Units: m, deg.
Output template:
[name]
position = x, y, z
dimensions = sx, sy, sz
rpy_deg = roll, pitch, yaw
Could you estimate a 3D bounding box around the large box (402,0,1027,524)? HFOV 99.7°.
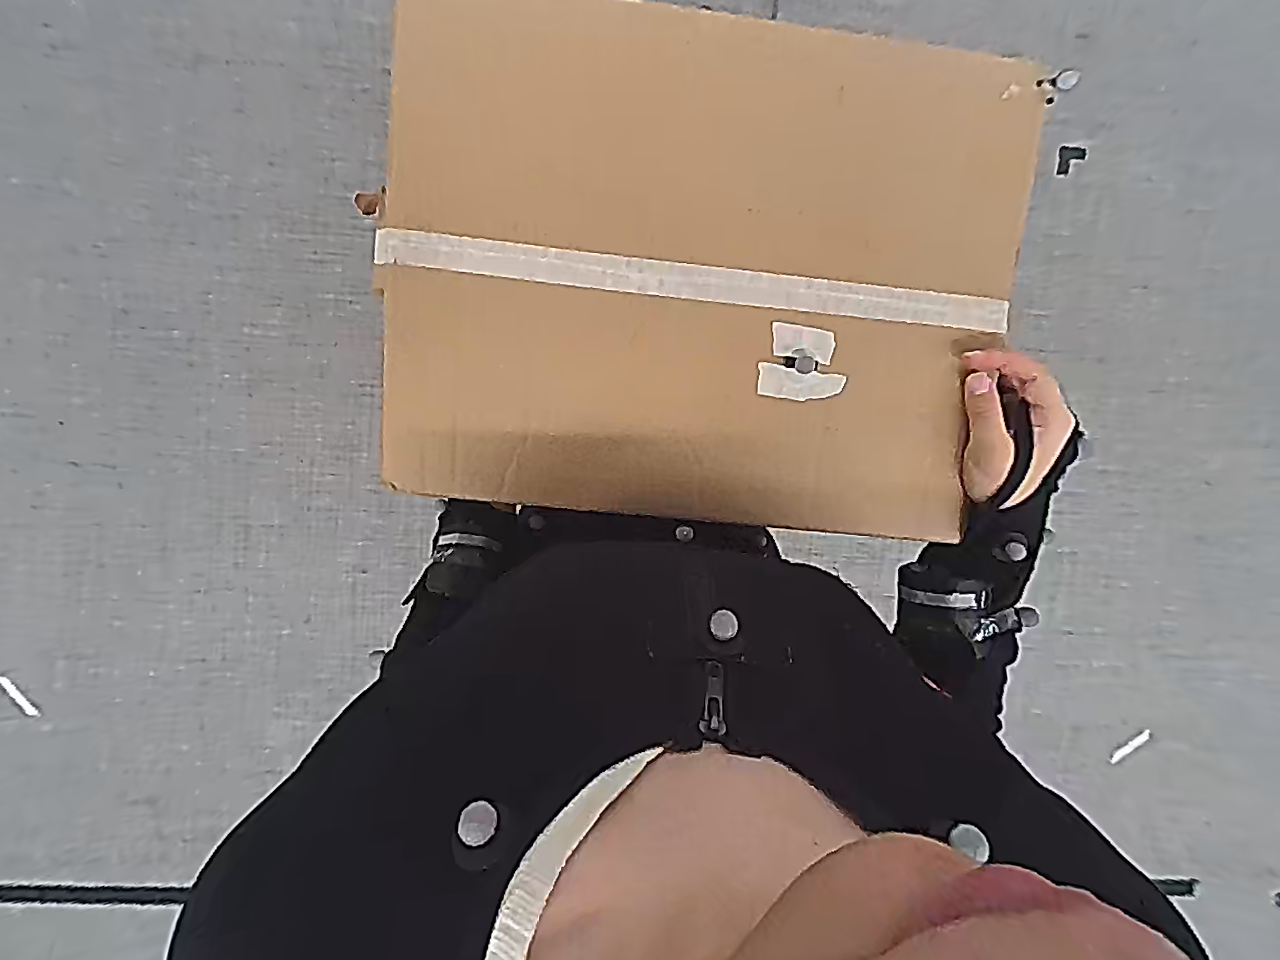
[large box]
position = 0.035, -0.152, 0.506
dimensions = 0.408, 0.320, 0.320
rpy_deg = 5, 99, -5
